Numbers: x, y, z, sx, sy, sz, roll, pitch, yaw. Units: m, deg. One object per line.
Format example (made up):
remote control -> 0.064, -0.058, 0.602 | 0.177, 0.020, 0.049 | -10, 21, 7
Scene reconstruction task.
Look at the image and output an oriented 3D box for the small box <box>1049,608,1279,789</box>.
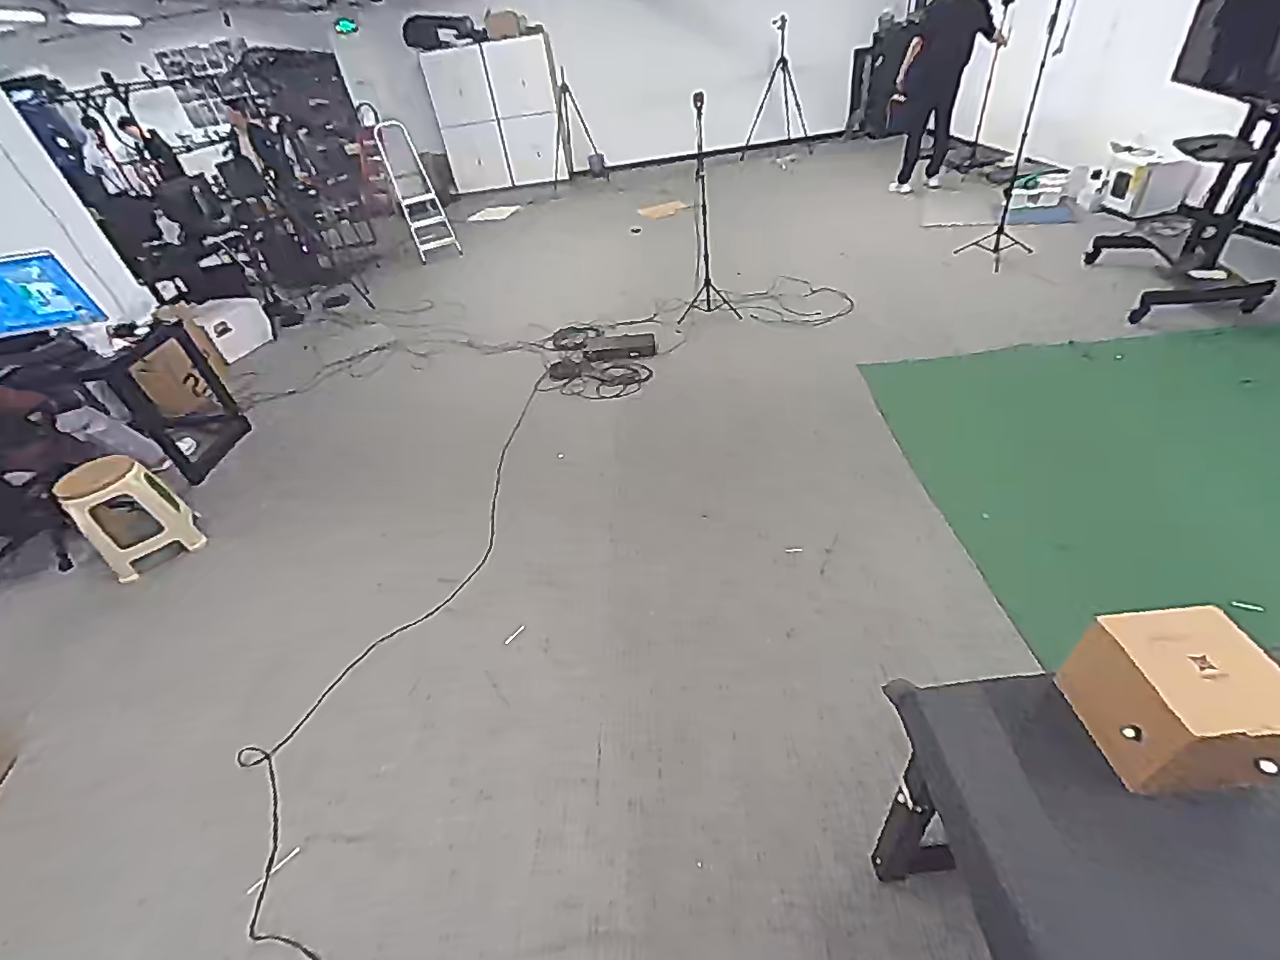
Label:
small box -> 0.728, 0.306, 0.751 | 0.168, 0.176, 0.179 | -5, 37, -1
